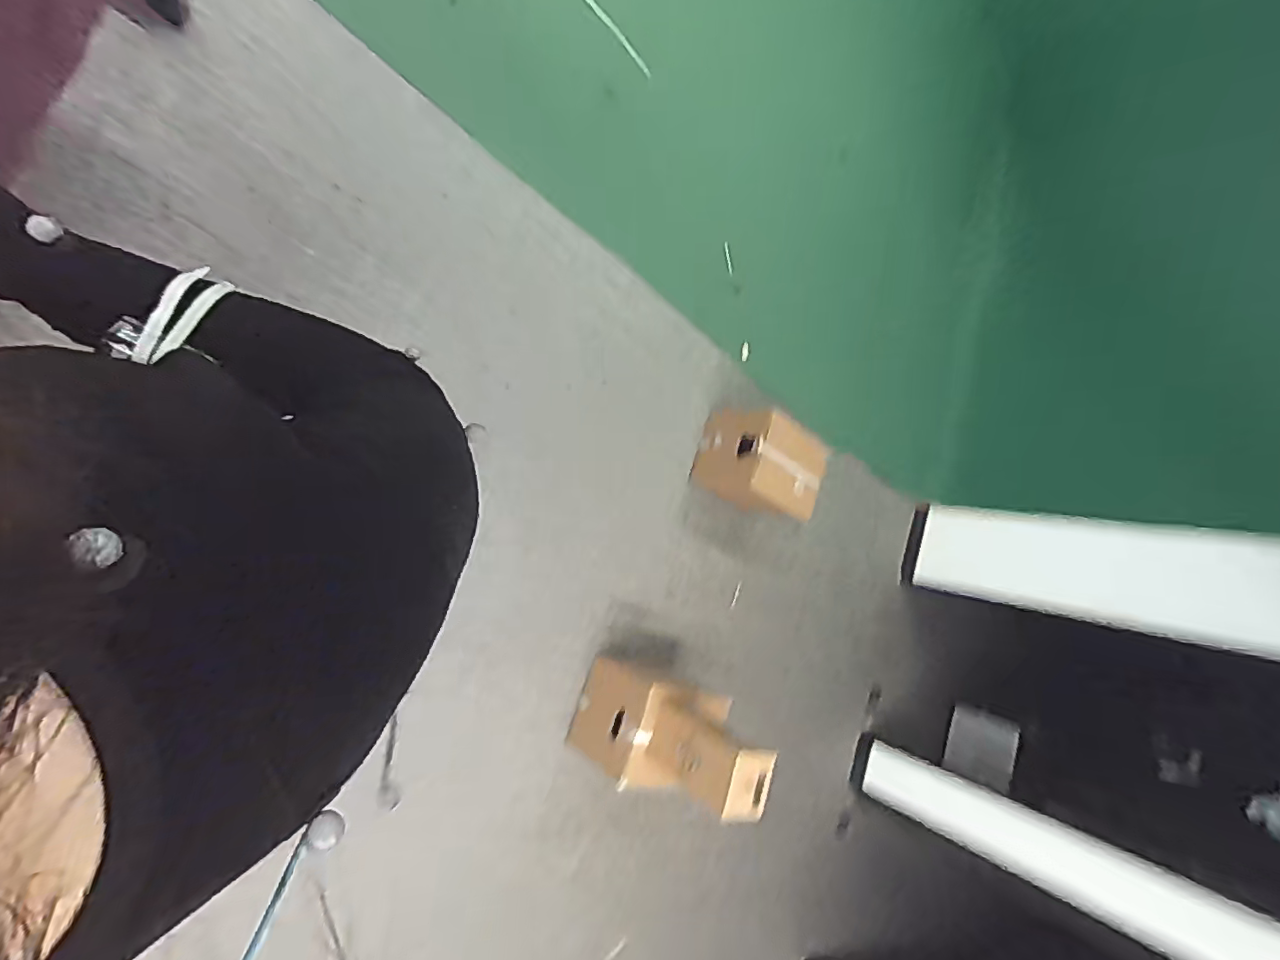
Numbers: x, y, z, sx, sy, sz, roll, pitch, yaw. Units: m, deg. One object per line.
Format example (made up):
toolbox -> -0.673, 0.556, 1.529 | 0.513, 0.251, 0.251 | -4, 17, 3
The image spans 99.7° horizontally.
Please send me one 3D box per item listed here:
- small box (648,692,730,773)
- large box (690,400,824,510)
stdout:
small box -> 0.147, 0.778, 1.672 | 0.168, 0.176, 0.179 | 24, 78, -38
large box -> 0.466, -0.094, 2.155 | 0.408, 0.320, 0.320 | 26, 78, -39
